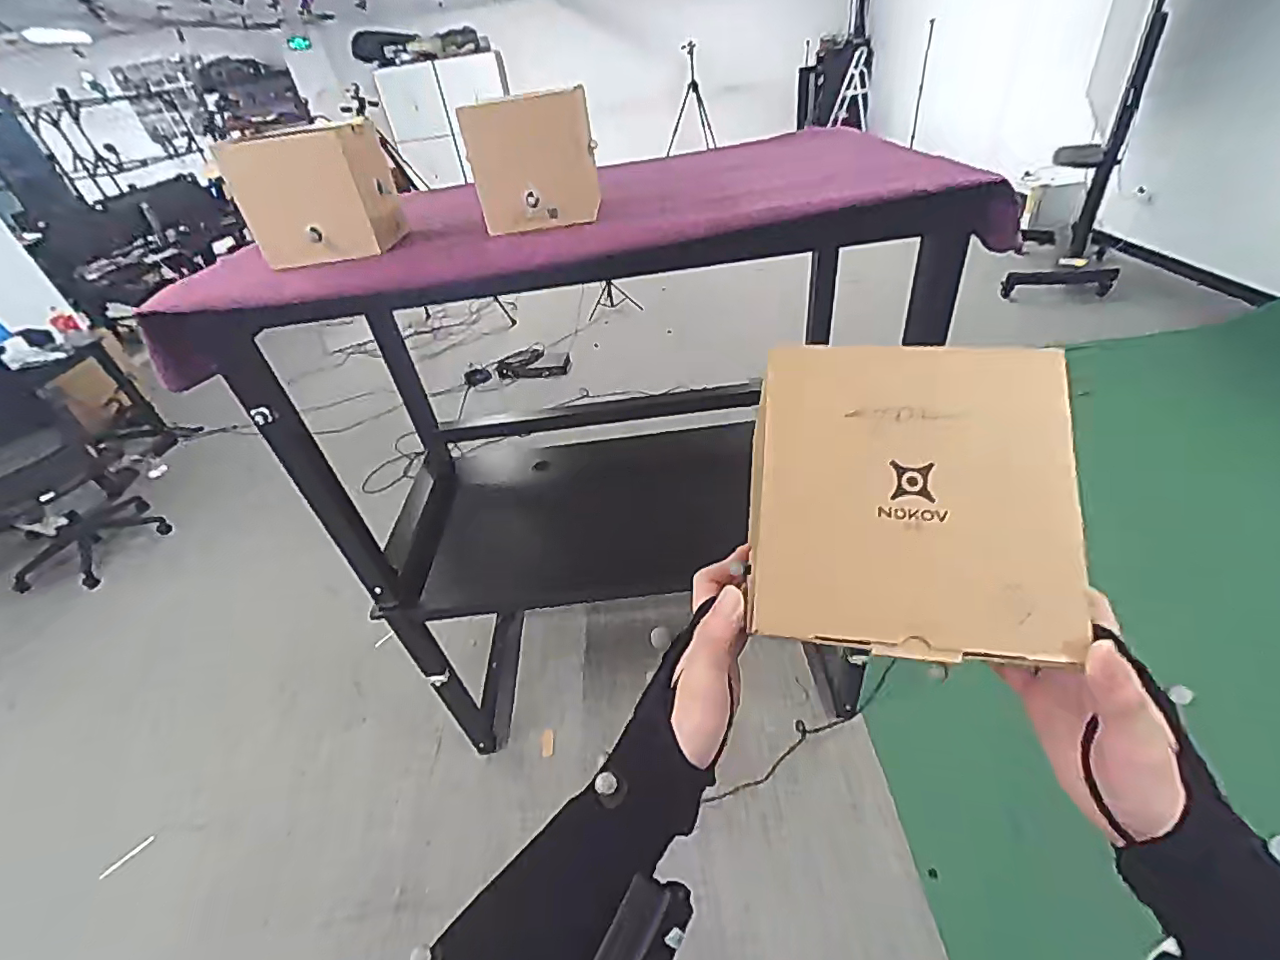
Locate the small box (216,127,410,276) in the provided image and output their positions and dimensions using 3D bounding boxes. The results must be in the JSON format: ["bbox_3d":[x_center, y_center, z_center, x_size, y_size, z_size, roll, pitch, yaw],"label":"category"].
[{"bbox_3d":[-0.487,-0.434,0.842,0.179,0.176,0.168,-8,37,0],"label":"small box"}]

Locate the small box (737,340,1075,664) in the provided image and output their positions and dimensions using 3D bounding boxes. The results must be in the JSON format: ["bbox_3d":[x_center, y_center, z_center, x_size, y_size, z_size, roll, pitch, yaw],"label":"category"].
[{"bbox_3d":[0.157,0.022,0.376,0.168,0.176,0.179,3,76,10],"label":"small box"}]
